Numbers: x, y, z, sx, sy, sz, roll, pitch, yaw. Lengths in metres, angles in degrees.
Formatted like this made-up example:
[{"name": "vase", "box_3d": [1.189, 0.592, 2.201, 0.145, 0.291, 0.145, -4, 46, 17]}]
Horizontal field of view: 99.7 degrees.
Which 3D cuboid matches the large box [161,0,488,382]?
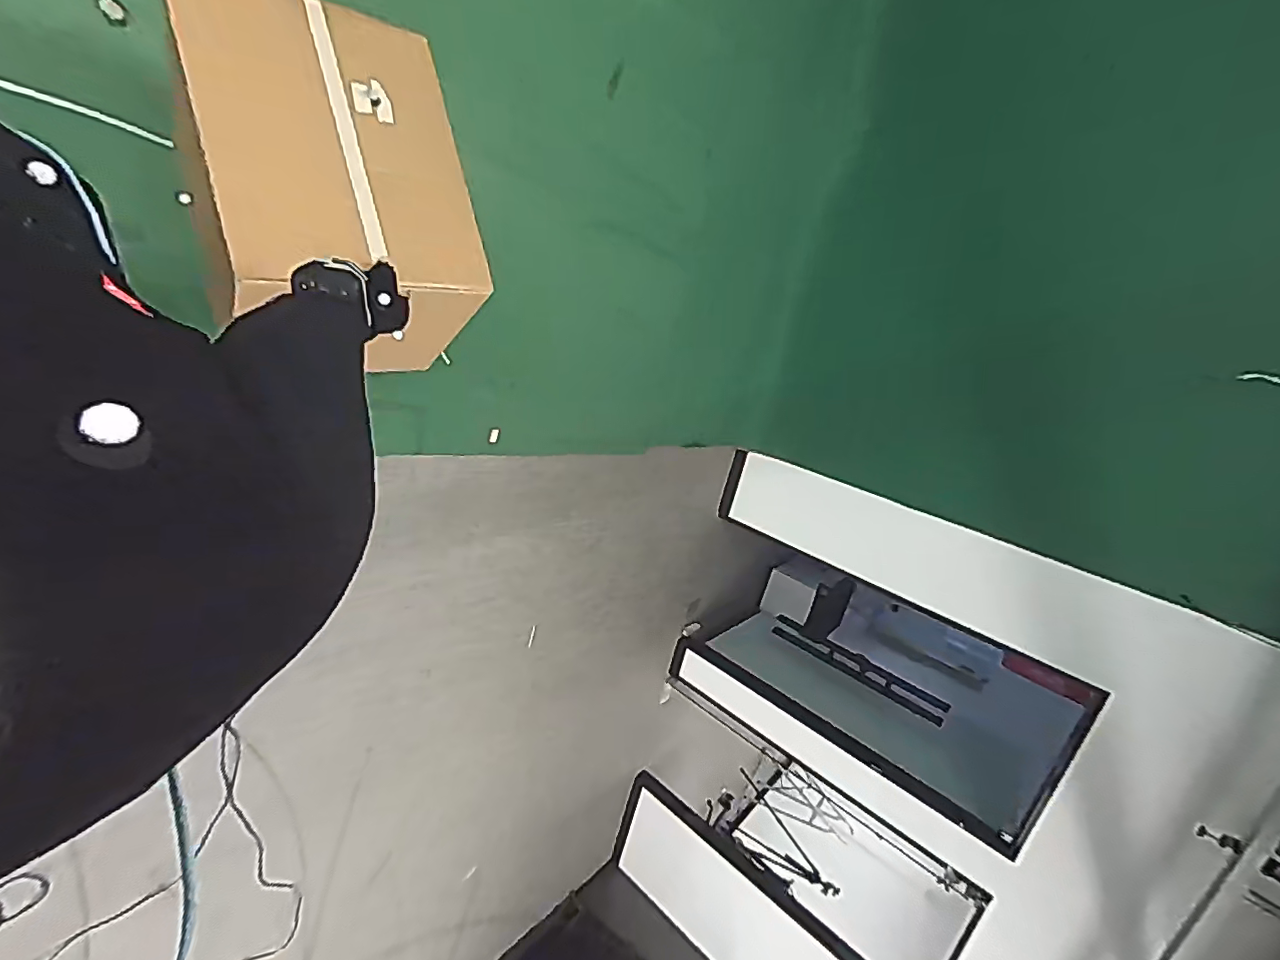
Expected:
[{"name": "large box", "box_3d": [-0.487, -0.403, 0.840, 0.320, 0.320, 0.408, -14, 85, -41]}]
